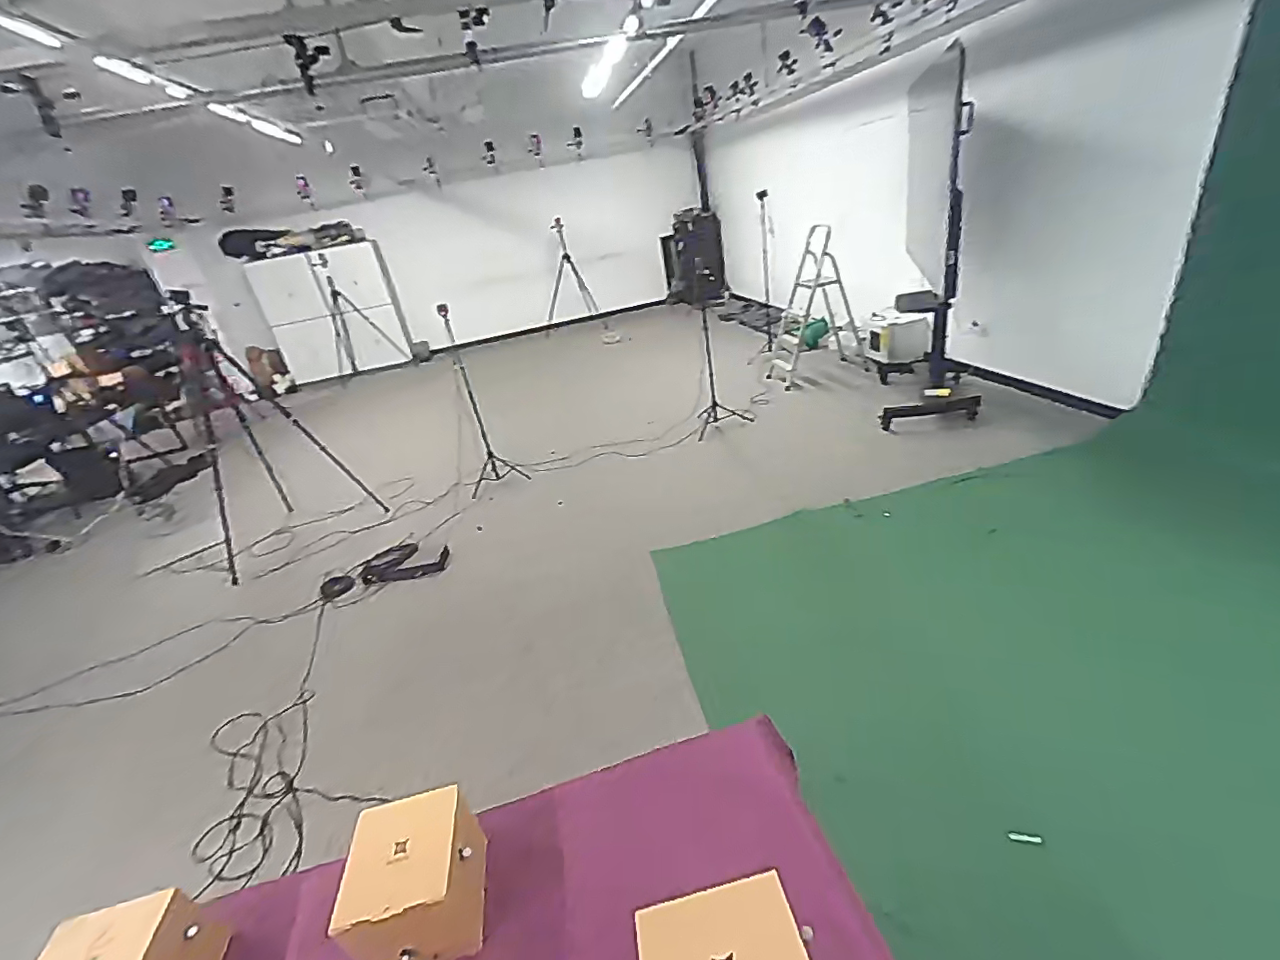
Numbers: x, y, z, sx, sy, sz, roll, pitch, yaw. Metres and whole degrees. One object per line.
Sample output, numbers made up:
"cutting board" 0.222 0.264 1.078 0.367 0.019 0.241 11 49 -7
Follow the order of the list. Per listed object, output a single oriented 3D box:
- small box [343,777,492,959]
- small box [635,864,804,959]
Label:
"small box" -0.351 0.640 0.895 0.168 0.176 0.179 -14 30 -4
"small box" 0.097 0.556 0.557 0.168 0.176 0.179 -15 18 0
